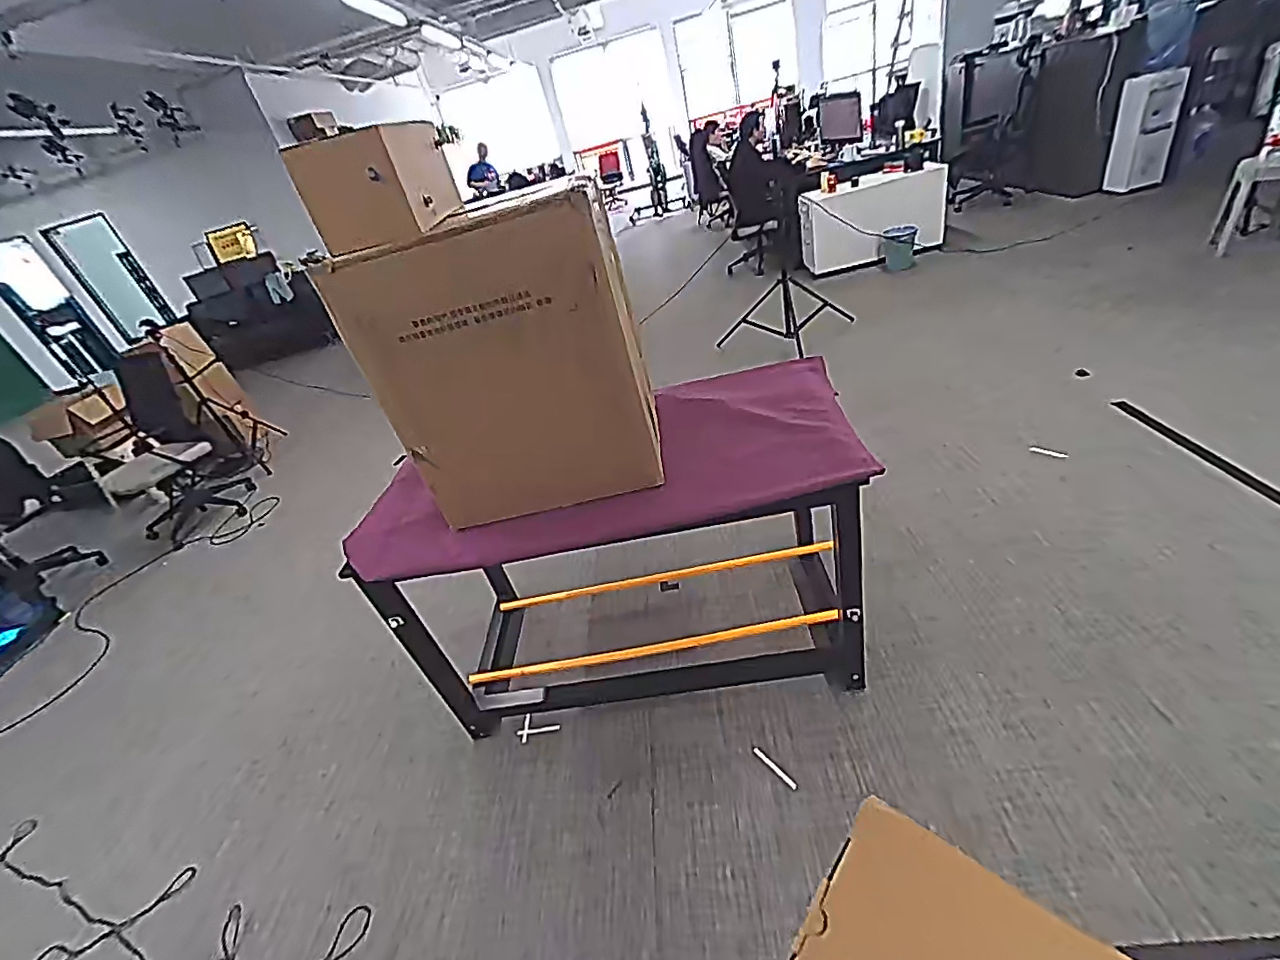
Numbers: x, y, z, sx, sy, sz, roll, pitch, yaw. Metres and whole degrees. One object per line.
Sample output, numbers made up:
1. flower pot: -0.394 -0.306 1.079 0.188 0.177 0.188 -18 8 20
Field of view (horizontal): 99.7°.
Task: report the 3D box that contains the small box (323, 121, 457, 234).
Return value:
1. small box: -0.499 -0.620 1.114 0.168 0.176 0.179 -12 33 6
